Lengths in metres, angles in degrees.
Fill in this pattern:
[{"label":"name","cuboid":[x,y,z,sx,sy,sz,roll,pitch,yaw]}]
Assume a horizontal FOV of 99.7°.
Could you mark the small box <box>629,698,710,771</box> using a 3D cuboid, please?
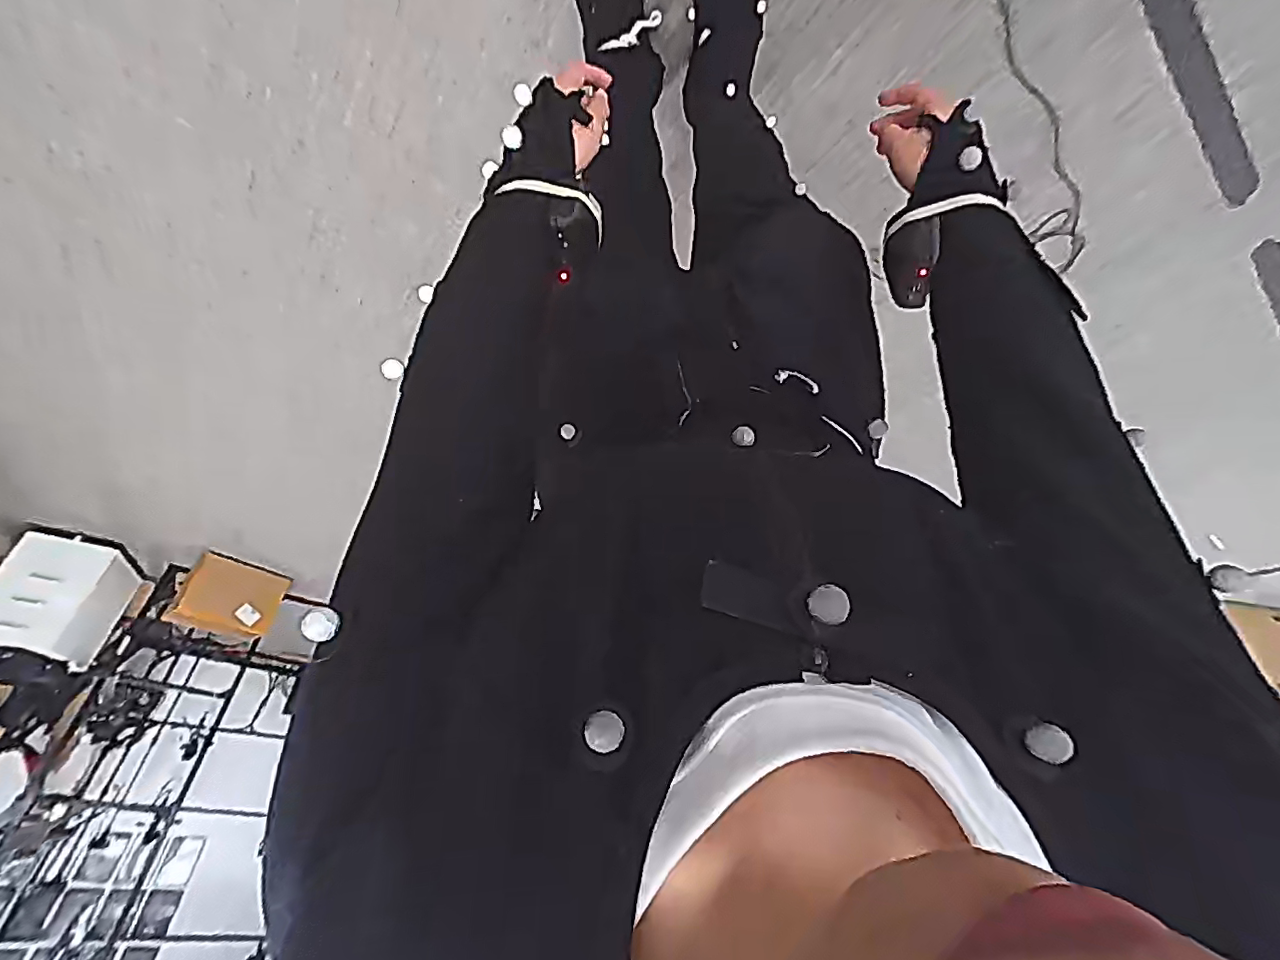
[{"label":"small box","cuboid":[0.086,0.737,1.566,0.168,0.176,0.179,23,143,-25]}]
